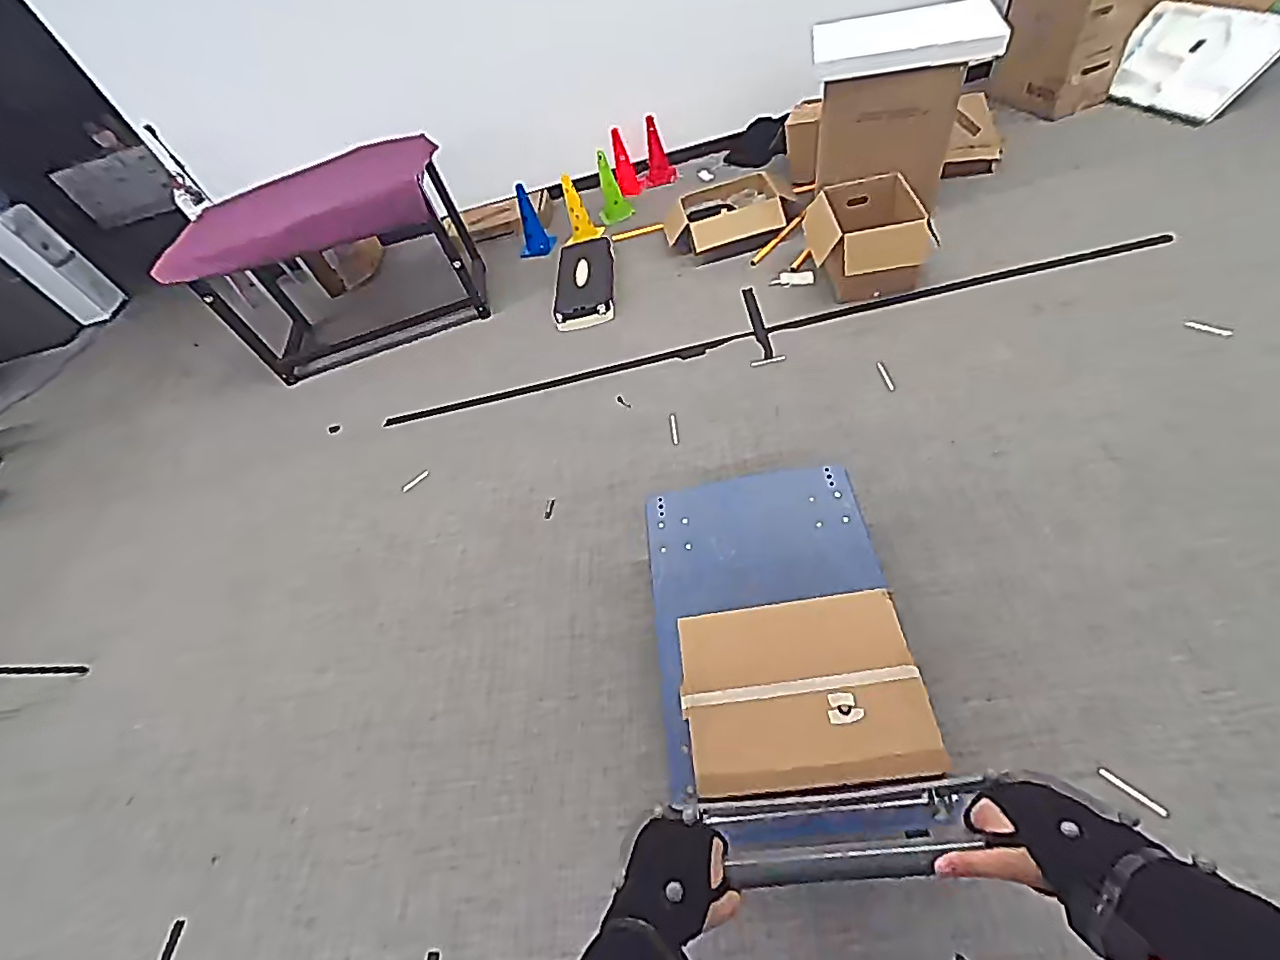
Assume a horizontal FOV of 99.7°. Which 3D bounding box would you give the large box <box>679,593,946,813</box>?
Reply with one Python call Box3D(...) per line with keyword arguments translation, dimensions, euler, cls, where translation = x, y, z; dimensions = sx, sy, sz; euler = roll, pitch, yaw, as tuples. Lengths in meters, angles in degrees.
Box3D(translation=(0.314, 0.460, 1.089), dimensions=(0.408, 0.320, 0.320), euler=(-11, 55, 7), cls="large box")
